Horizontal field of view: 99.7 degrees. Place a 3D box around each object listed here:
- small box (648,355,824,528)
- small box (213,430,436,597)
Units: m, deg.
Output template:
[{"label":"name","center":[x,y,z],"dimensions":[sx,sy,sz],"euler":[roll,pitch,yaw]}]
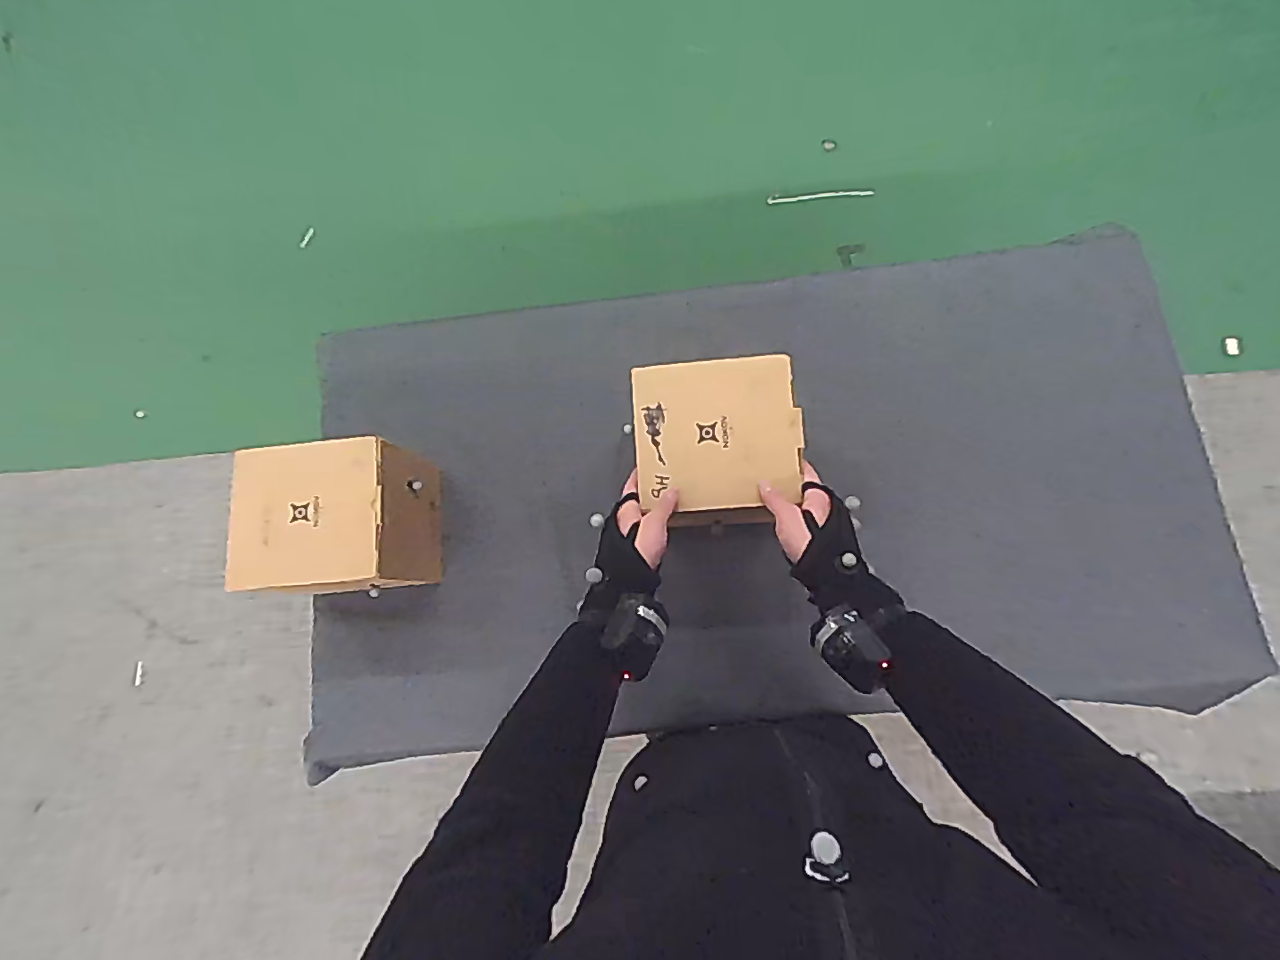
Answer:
[{"label":"small box","center":[0.100,-0.036,0.644],"dimensions":[0.179,0.176,0.168],"euler":[-3,78,2]},{"label":"small box","center":[-0.360,0.050,0.654],"dimensions":[0.179,0.176,0.168],"euler":[-6,75,1]}]
